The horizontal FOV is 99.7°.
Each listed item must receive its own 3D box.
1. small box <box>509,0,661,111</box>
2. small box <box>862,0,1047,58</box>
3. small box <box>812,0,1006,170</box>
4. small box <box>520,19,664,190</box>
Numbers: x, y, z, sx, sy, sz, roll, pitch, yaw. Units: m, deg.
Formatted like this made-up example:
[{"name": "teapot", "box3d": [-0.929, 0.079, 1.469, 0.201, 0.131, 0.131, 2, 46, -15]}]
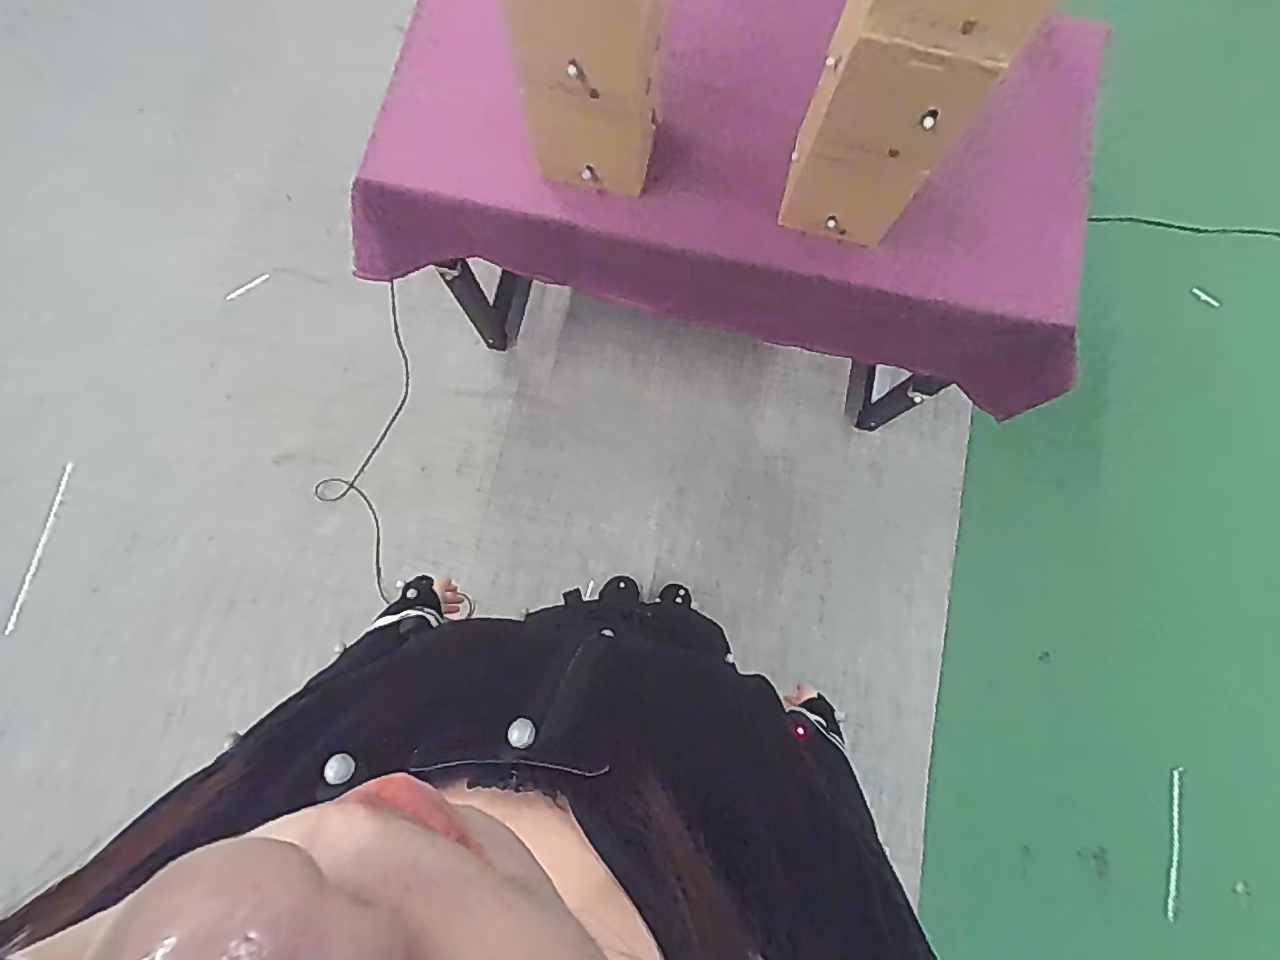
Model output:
[{"name": "small box", "box3d": [-0.064, -0.616, 0.675, 0.168, 0.176, 0.179, 13, 81, 1]}, {"name": "small box", "box3d": [0.331, -0.554, 0.510, 0.168, 0.176, 0.179, 13, 80, 0]}, {"name": "small box", "box3d": [0.328, -0.527, 0.671, 0.168, 0.176, 0.179, 13, 81, 1]}, {"name": "small box", "box3d": [-0.069, -0.584, 0.837, 0.179, 0.176, 0.168, 11, 80, 0]}]
